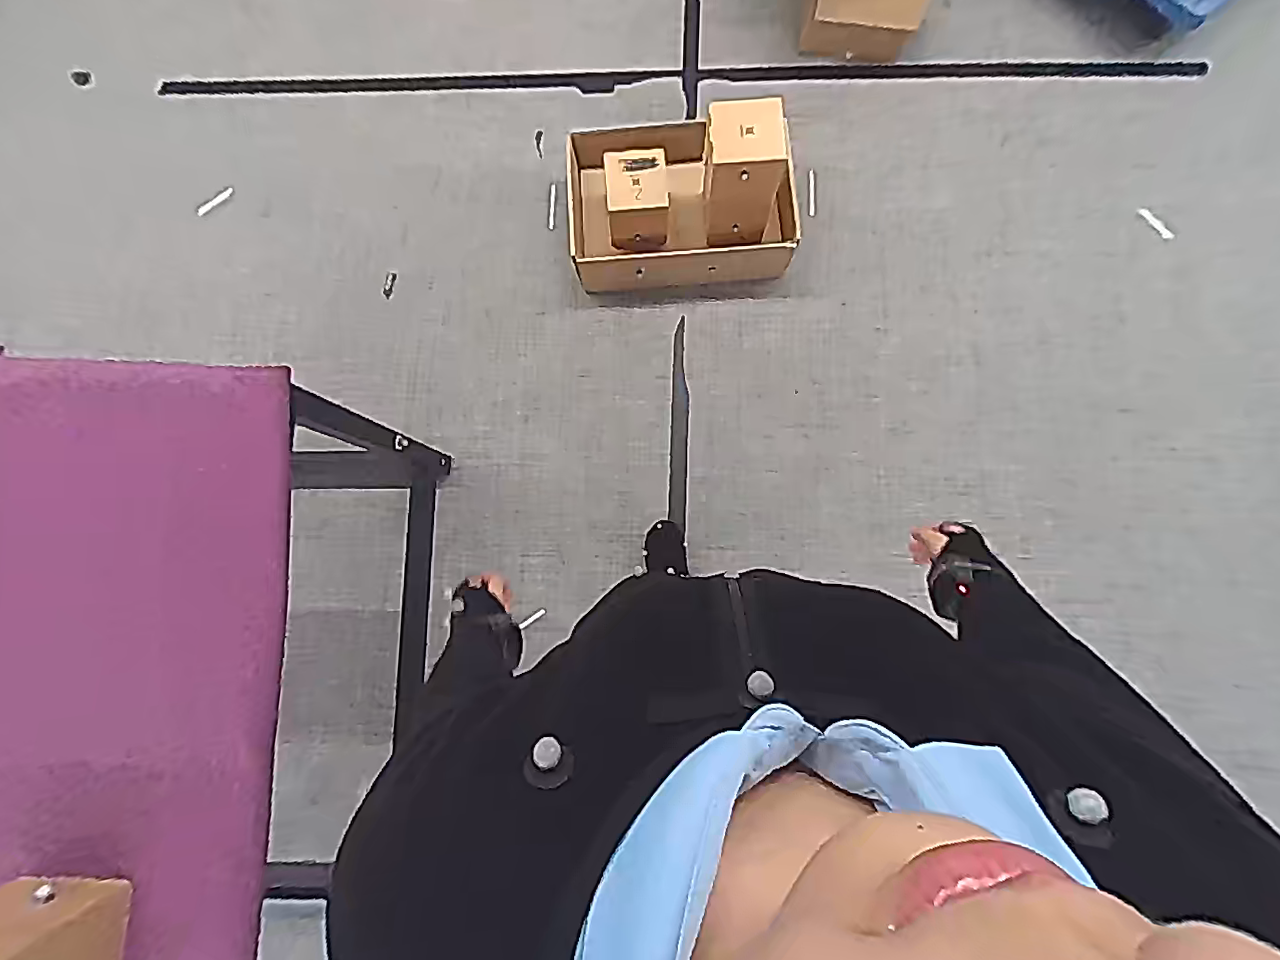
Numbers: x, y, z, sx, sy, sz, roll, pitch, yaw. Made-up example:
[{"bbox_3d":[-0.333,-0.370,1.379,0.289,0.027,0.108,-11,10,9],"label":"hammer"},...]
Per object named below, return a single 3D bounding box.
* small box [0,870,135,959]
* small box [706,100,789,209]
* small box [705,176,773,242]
[{"bbox_3d":[-0.784,0.626,0.666,0.168,0.176,0.179,1,81,2],"label":"small box"},{"bbox_3d":[0.263,-0.812,1.360,0.179,0.176,0.168,-3,81,3],"label":"small box"},{"bbox_3d":[0.273,-0.790,1.521,0.168,0.176,0.179,-2,81,2],"label":"small box"}]
